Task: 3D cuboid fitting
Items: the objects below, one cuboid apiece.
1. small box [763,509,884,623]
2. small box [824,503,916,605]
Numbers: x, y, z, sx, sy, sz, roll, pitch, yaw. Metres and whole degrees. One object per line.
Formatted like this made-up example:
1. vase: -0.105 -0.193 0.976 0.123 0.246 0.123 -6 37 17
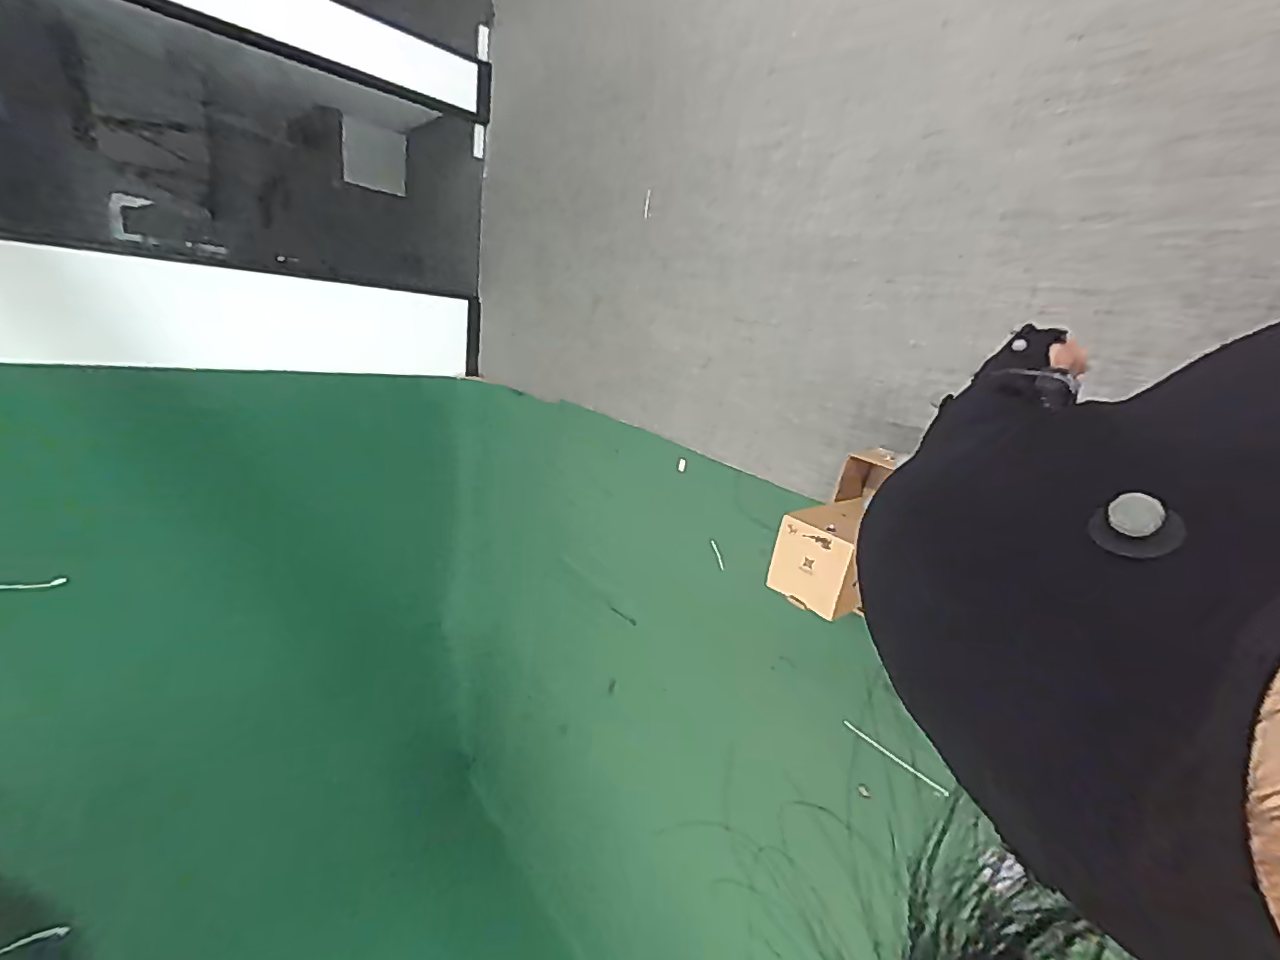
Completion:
1. small box: 0.398 0.176 1.170 0.168 0.176 0.179 27 114 44
2. small box: 0.521 0.167 1.279 0.168 0.176 0.179 30 114 42
